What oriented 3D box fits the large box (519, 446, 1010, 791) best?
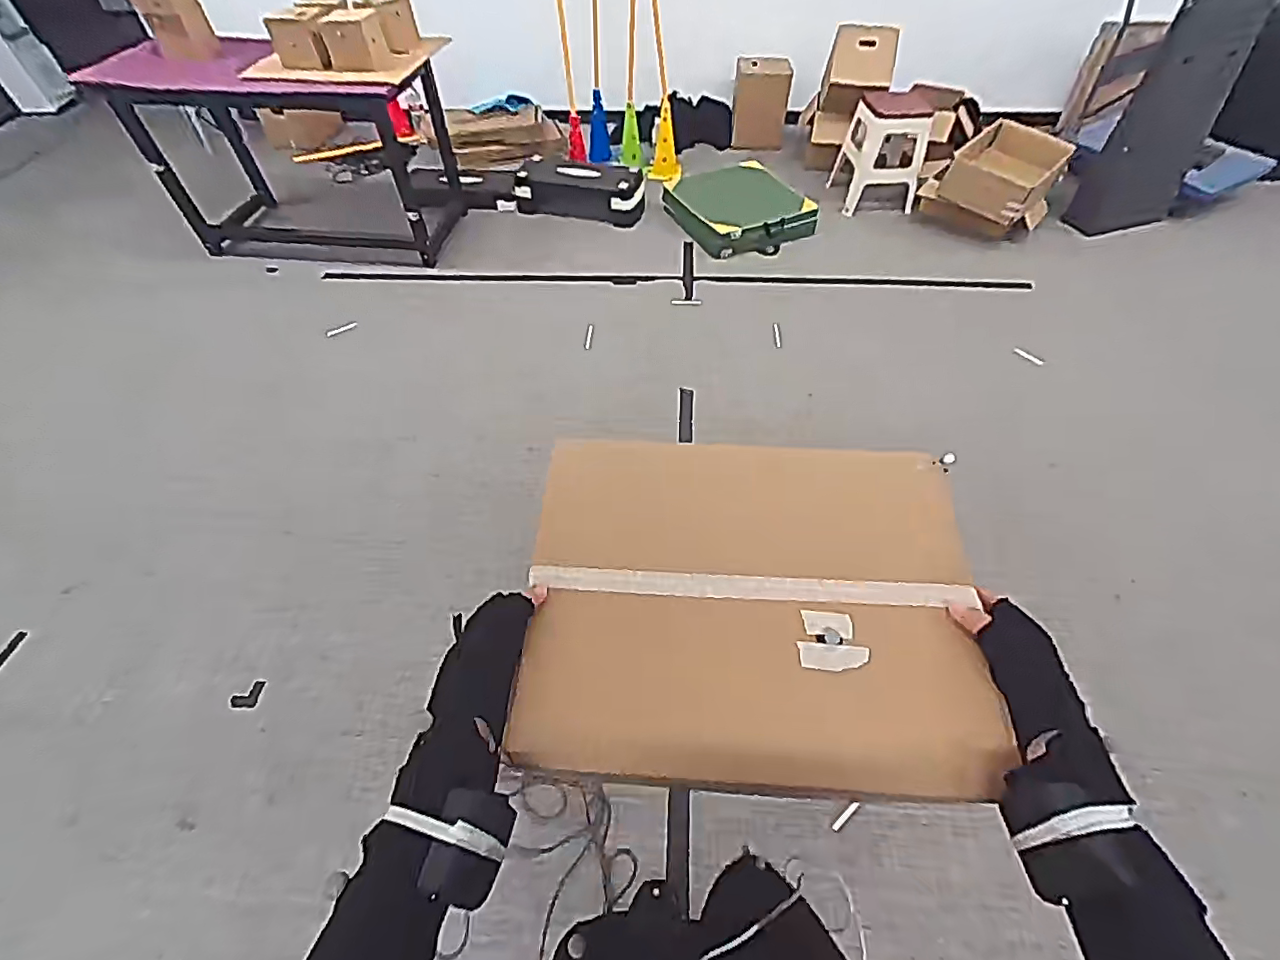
[{"bbox_3d":[0.106,0.177,0.636,0.408,0.320,0.320,3,61,3],"label":"large box"}]
